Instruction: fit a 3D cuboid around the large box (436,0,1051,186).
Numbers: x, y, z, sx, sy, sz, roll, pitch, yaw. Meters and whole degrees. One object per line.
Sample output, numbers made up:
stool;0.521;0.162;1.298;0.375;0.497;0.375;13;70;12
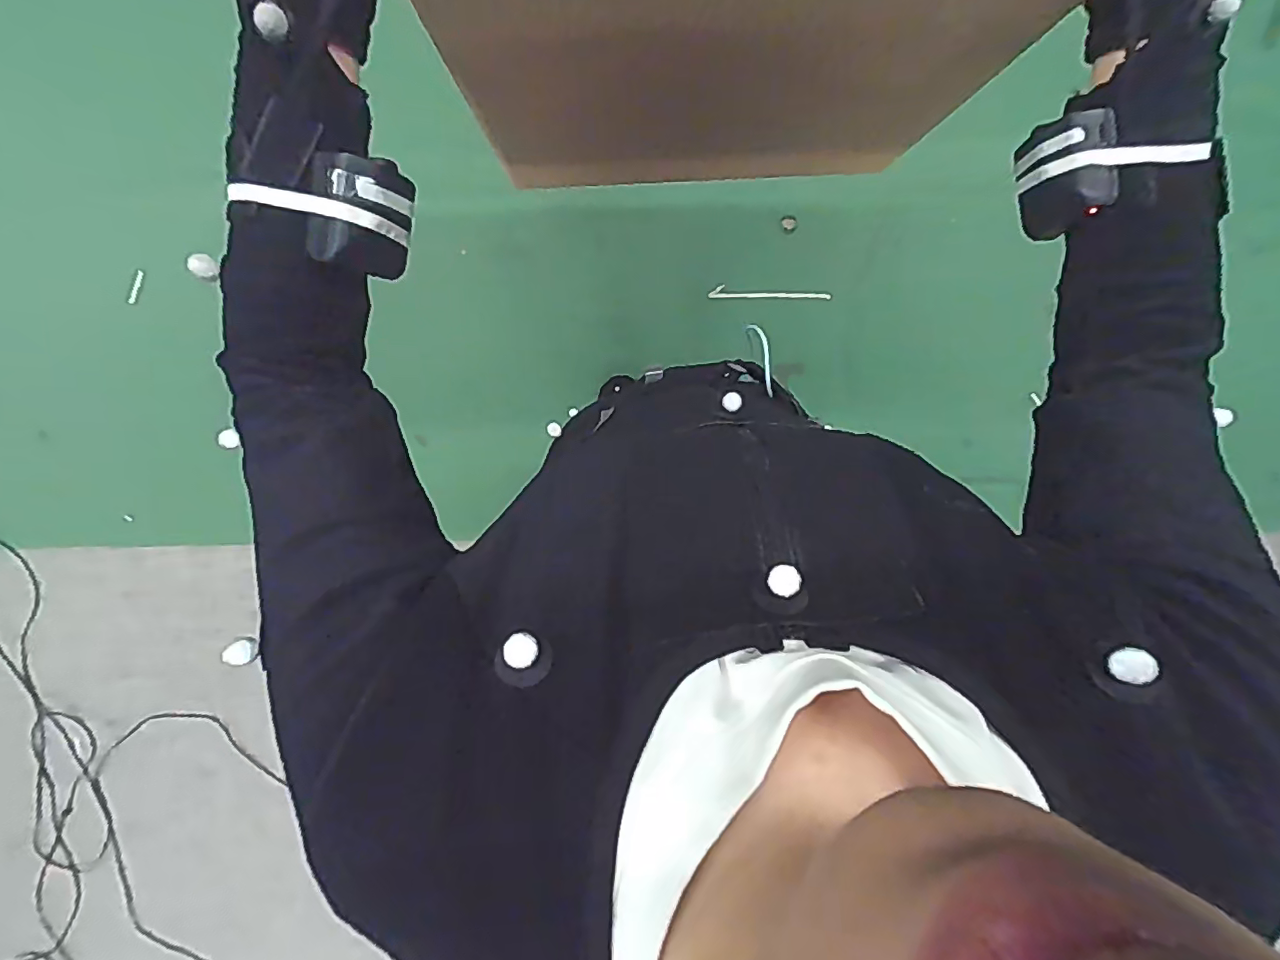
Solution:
large box;0.059;-0.455;0.411;0.408;0.320;0.320;-5;100;-1
